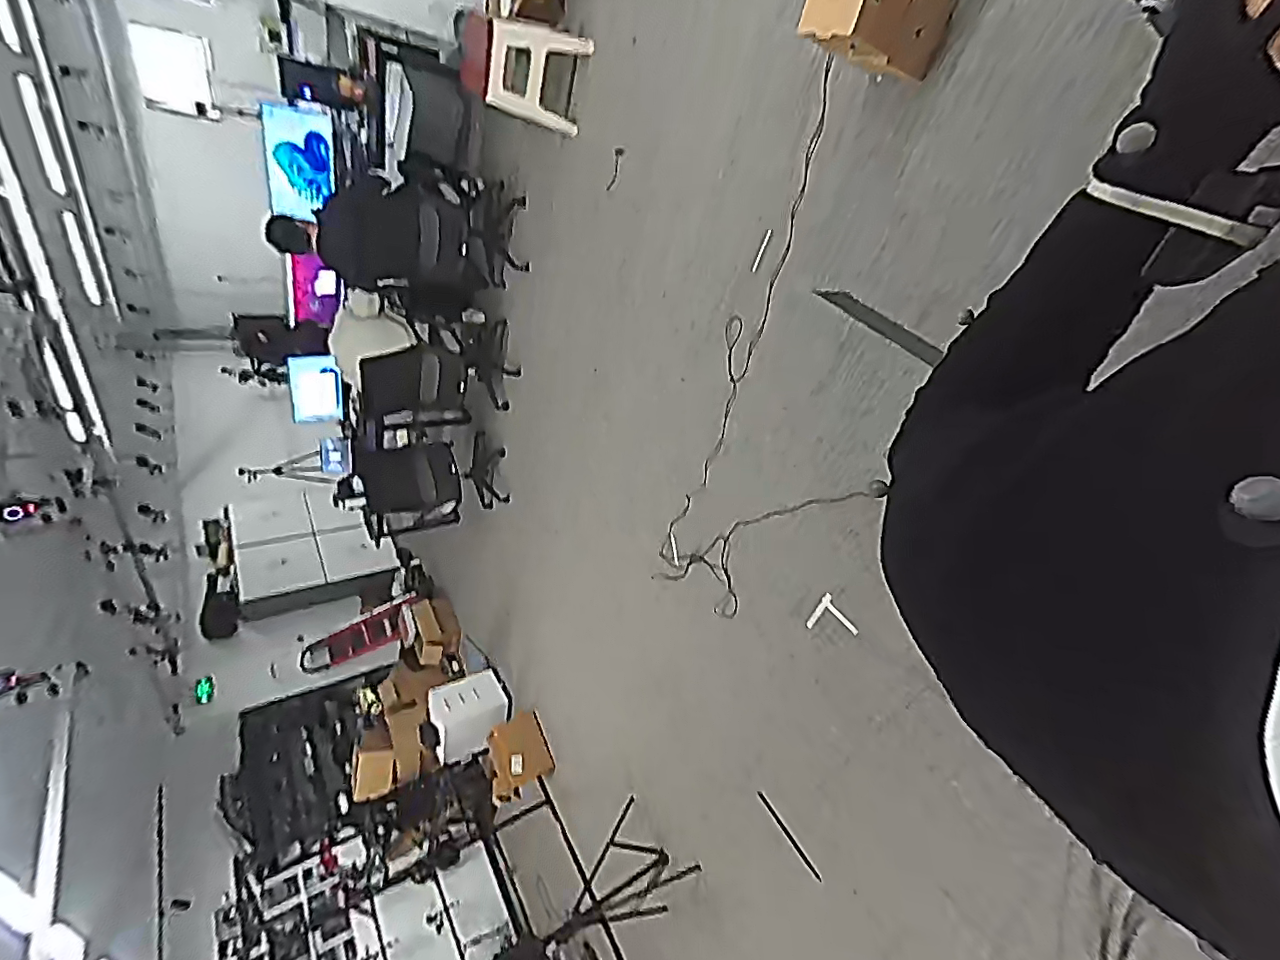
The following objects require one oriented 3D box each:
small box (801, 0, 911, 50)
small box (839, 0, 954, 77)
[{"bbox_3d":[0.512,-1.122,1.245,0.168,0.176,0.179,44,131,38],"label":"small box"},{"bbox_3d":[0.641,-1.141,1.343,0.168,0.176,0.179,47,134,37],"label":"small box"}]
